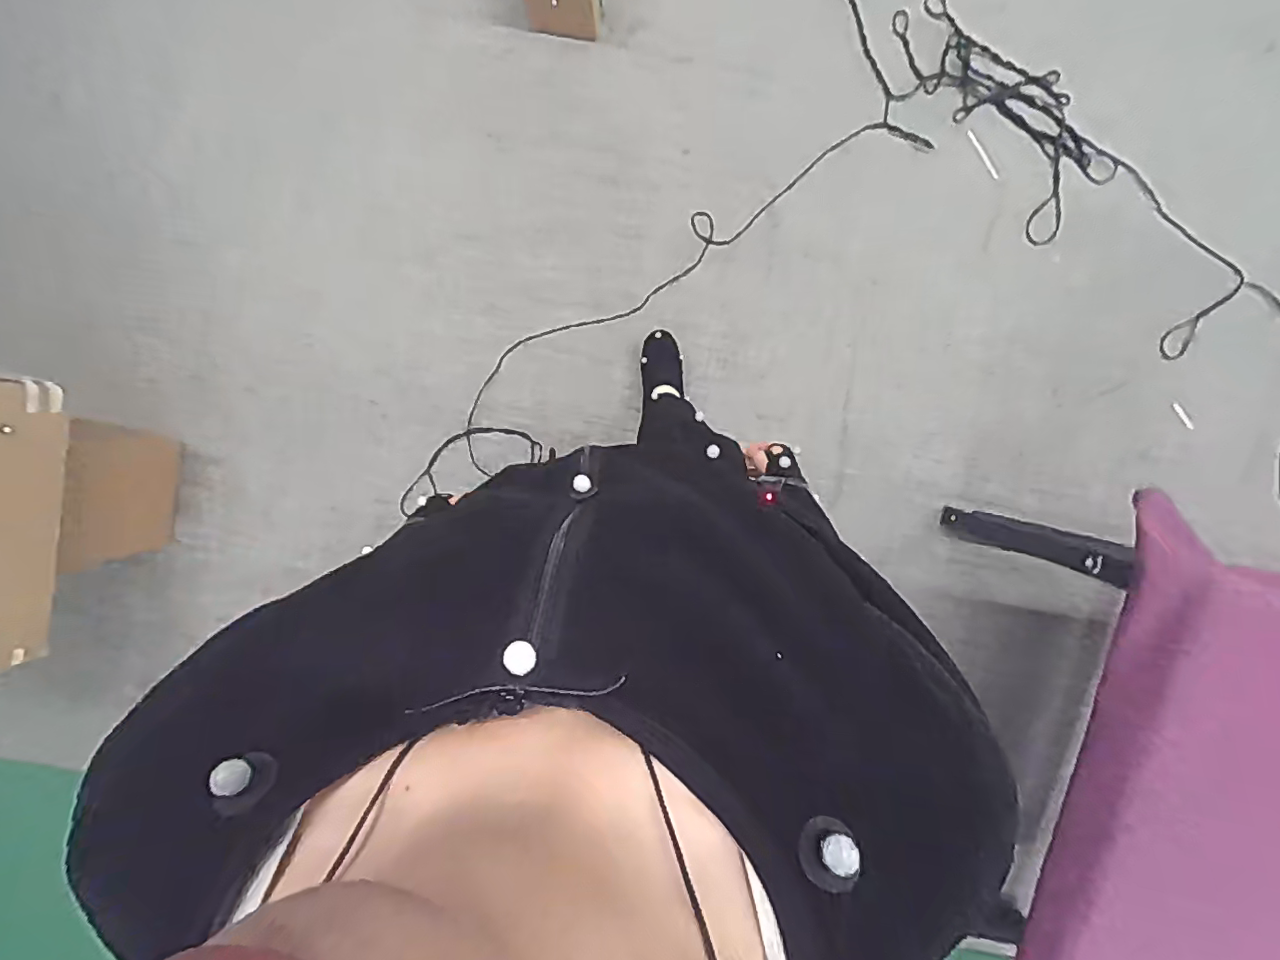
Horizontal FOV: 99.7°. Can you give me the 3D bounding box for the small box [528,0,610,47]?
[{"bbox_3d":[-0.171,-1.190,1.297,0.179,0.176,0.168,11,96,0],"label":"small box"}]
